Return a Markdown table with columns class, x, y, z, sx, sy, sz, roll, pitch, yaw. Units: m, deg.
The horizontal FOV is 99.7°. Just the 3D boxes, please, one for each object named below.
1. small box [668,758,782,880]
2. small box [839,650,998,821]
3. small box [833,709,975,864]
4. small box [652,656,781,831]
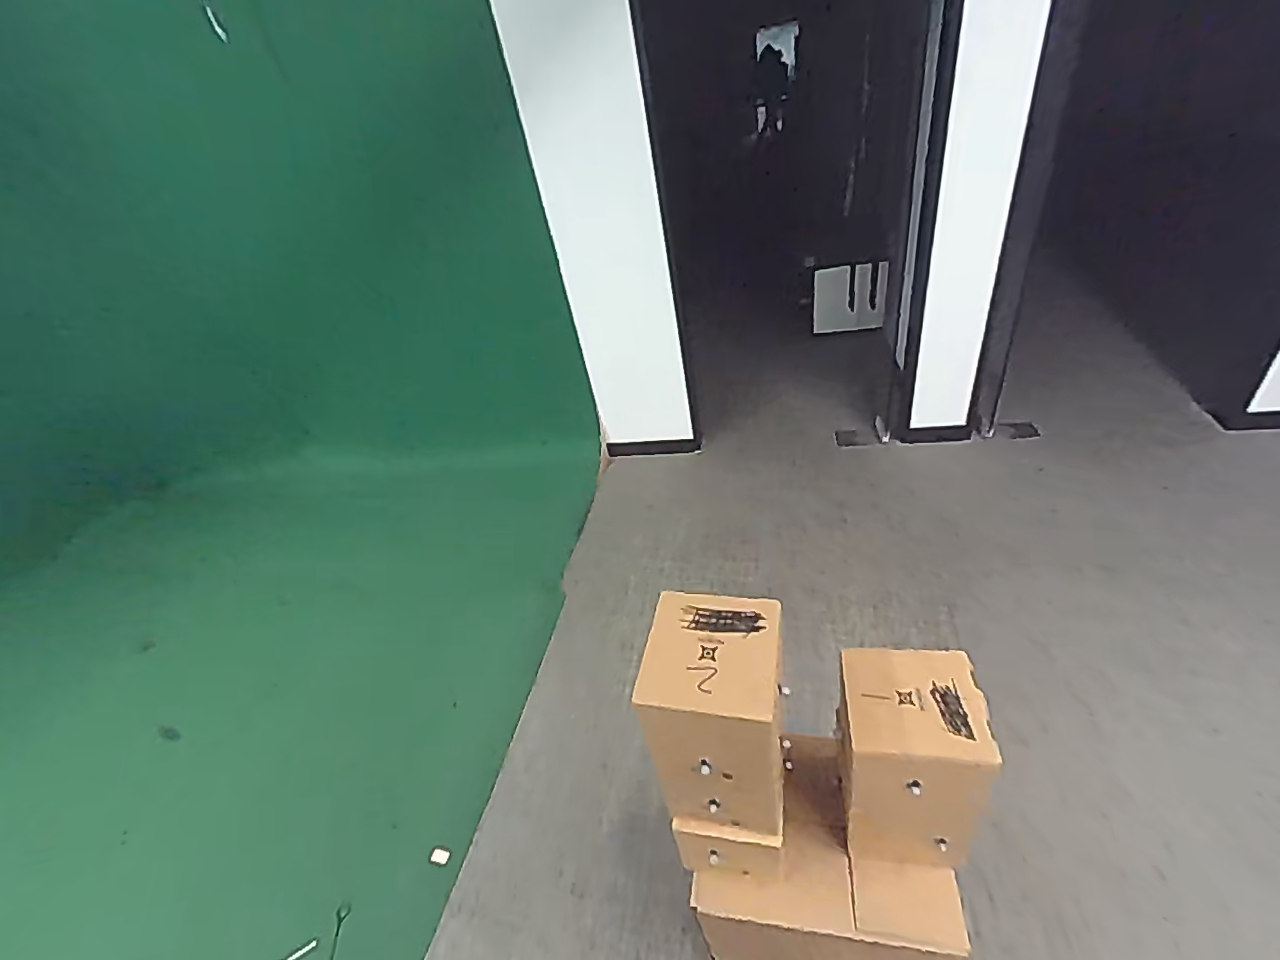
| class | x | y | z | sx | sy | sz | roll | pitch | yaw |
| --- | --- | --- | --- | --- | --- | --- | --- | --- | --- |
| small box | 0.152 | 0.541 | 0.915 | 0.168 | 0.176 | 0.179 | 0 | 38 | 16 |
| small box | 0.390 | 0.373 | 0.794 | 0.179 | 0.176 | 0.168 | -3 | 36 | 17 |
| small box | 0.418 | 0.502 | 0.889 | 0.179 | 0.176 | 0.168 | -3 | 36 | 15 |
| small box | 0.127 | 0.402 | 0.829 | 0.168 | 0.176 | 0.179 | 2 | 38 | 17 |
